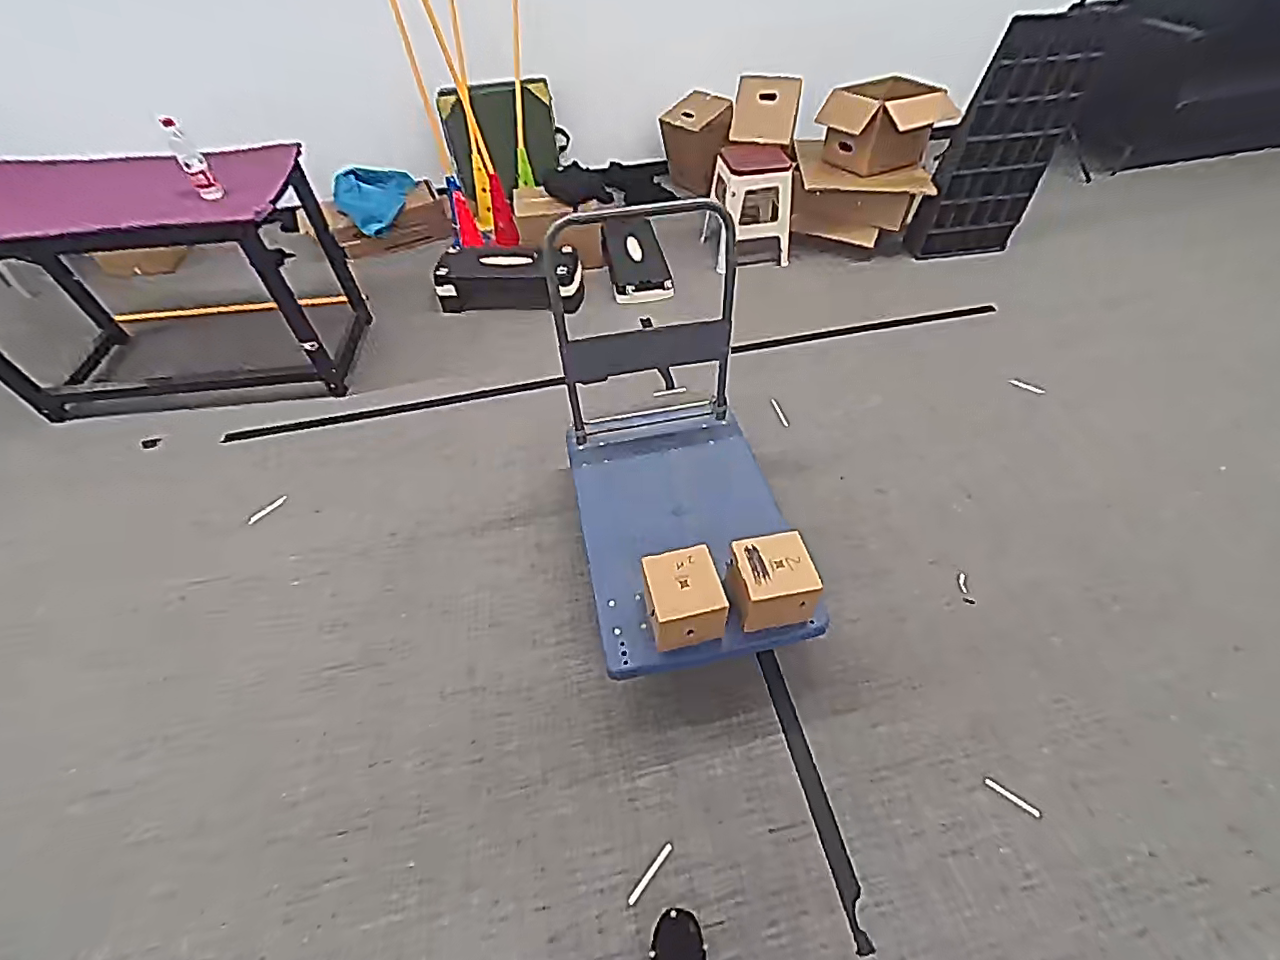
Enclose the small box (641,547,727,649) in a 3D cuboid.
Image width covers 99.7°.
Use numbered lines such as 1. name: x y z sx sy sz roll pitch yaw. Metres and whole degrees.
1. small box: 0.104 0.295 1.320 0.168 0.176 0.179 -11 50 -7
